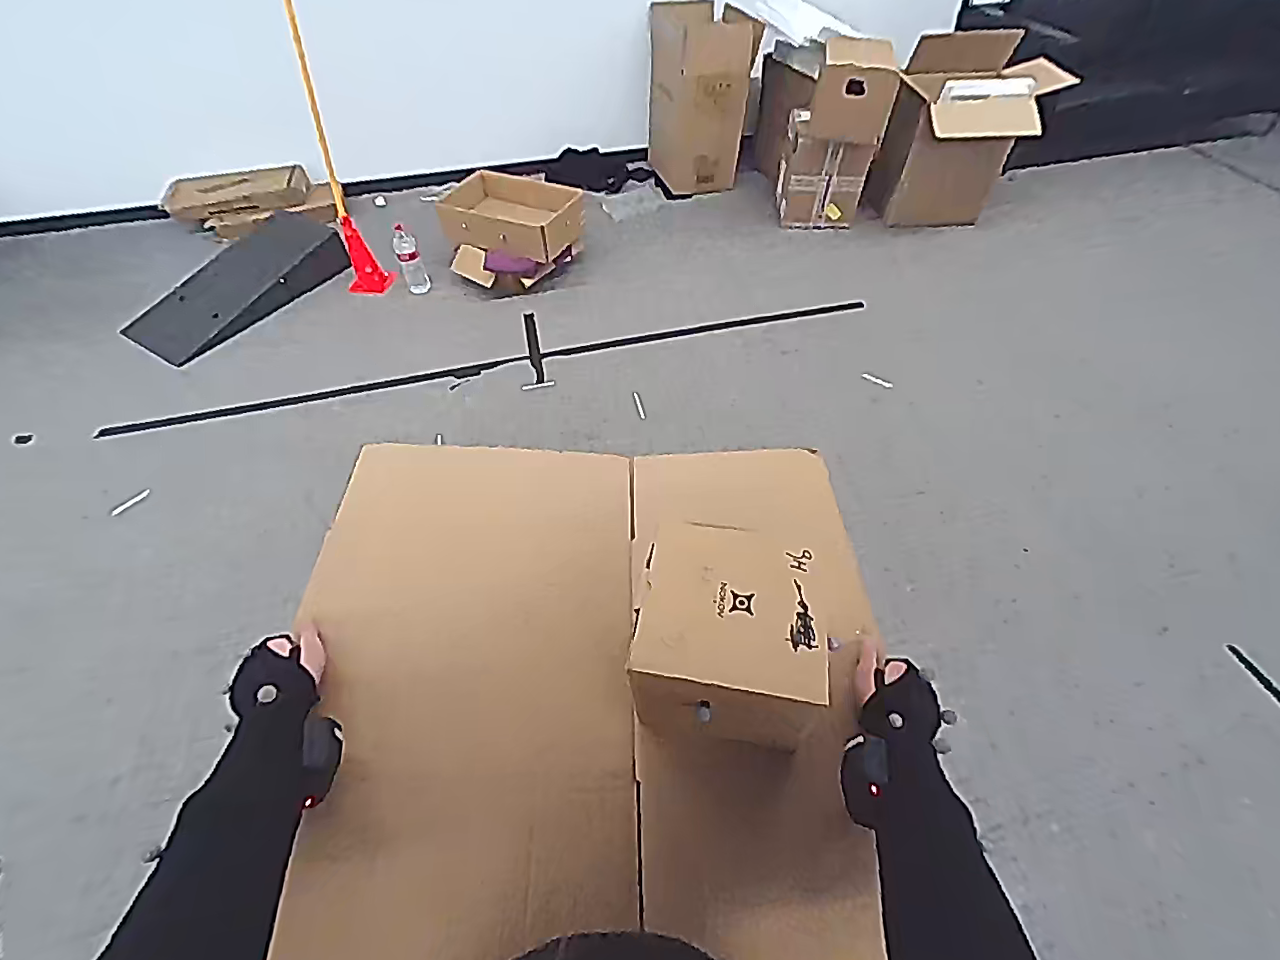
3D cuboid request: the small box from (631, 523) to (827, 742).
[{"bbox_3d":[0.098,0.167,0.584,0.179,0.176,0.168,6,53,11],"label":"small box"}]
